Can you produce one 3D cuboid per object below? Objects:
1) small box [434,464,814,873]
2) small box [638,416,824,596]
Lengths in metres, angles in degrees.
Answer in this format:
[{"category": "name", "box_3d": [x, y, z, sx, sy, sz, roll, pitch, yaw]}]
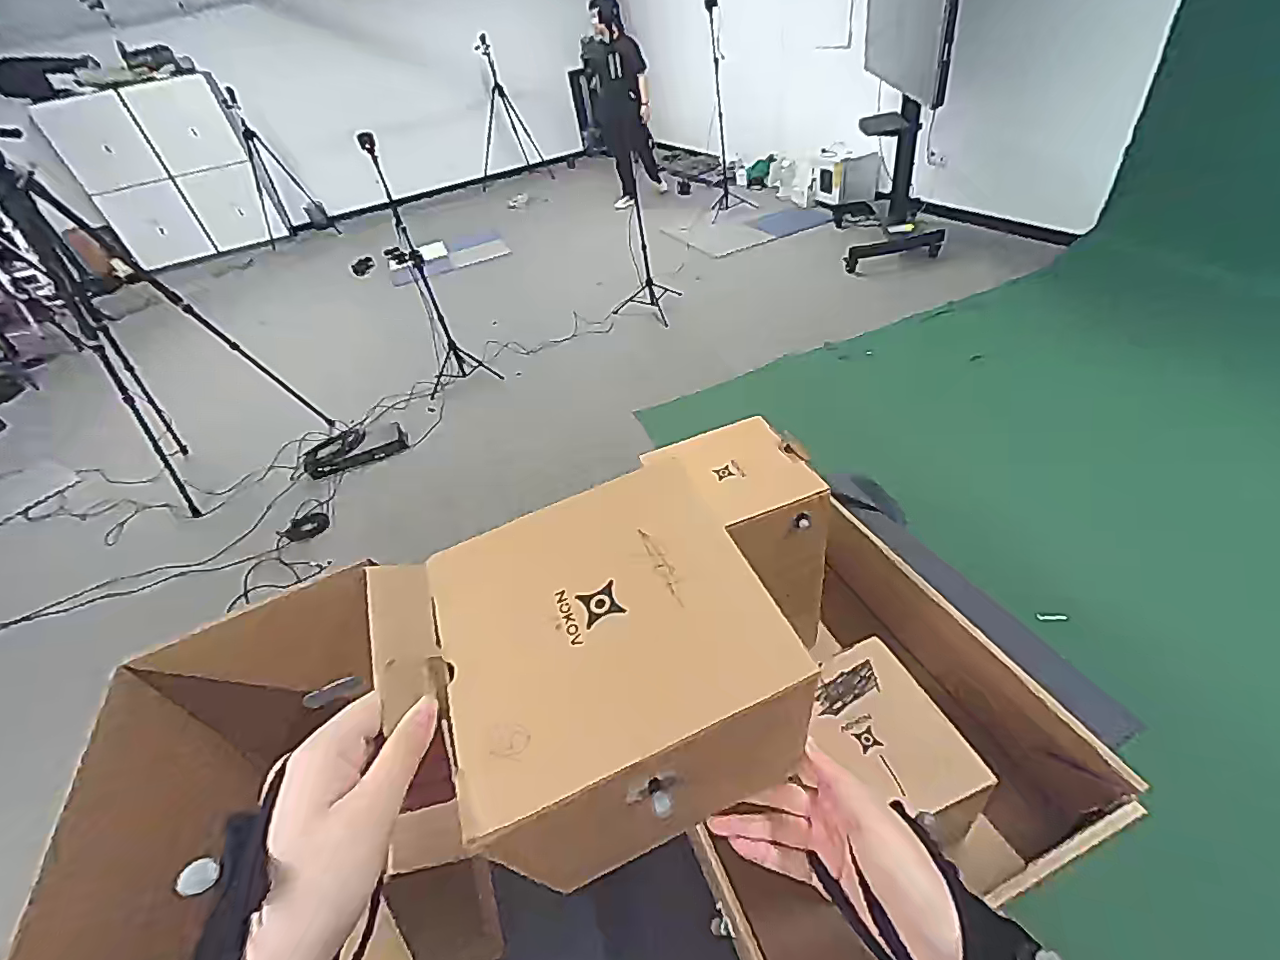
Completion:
[{"category": "small box", "box_3d": [-0.009, 0.126, 0.357, 0.179, 0.176, 0.168, -22, 49, -9]}, {"category": "small box", "box_3d": [0.115, 0.050, 0.700, 0.179, 0.176, 0.168, -19, 42, -9]}]
